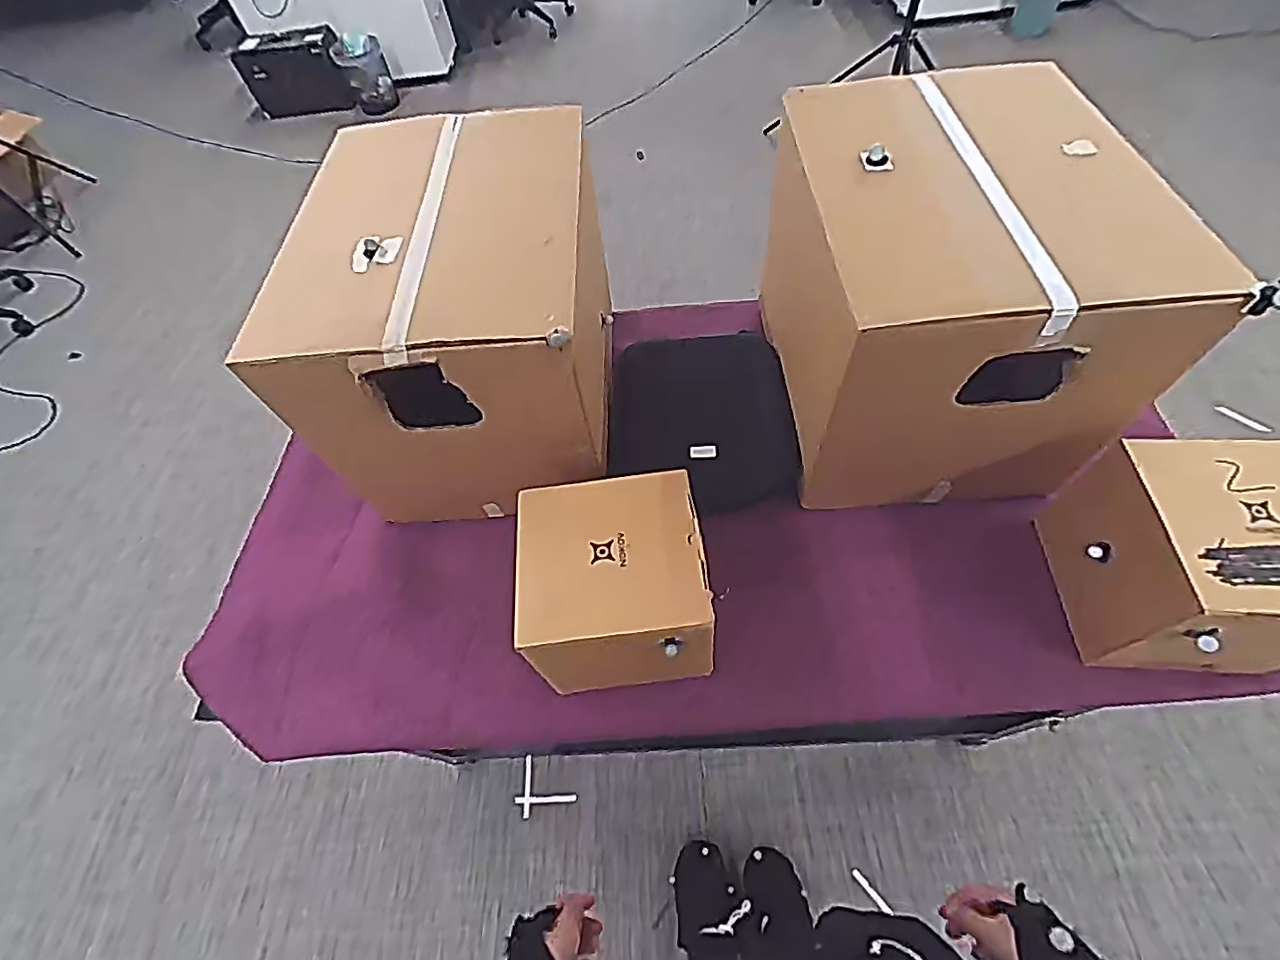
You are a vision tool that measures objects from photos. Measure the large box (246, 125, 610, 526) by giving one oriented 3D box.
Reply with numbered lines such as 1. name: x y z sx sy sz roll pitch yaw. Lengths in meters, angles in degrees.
1. large box: -0.210 -0.190 0.712 0.320 0.320 0.408 -5 60 3
